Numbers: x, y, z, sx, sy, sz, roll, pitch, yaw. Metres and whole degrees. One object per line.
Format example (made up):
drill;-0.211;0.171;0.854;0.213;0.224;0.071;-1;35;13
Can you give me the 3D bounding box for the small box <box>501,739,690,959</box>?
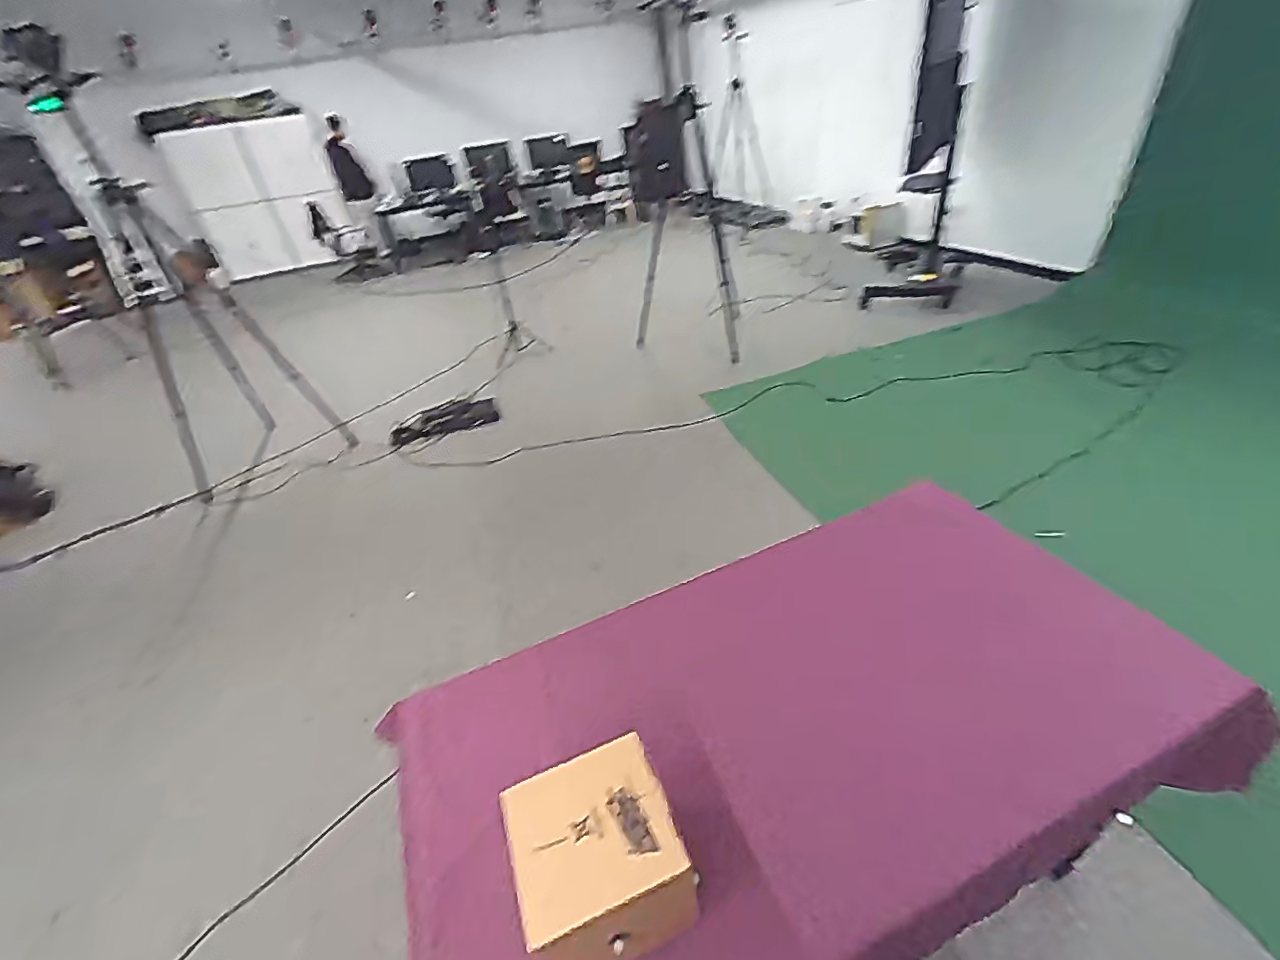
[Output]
small box;-0.049;0.458;0.648;0.179;0.176;0.168;-19;36;-13
